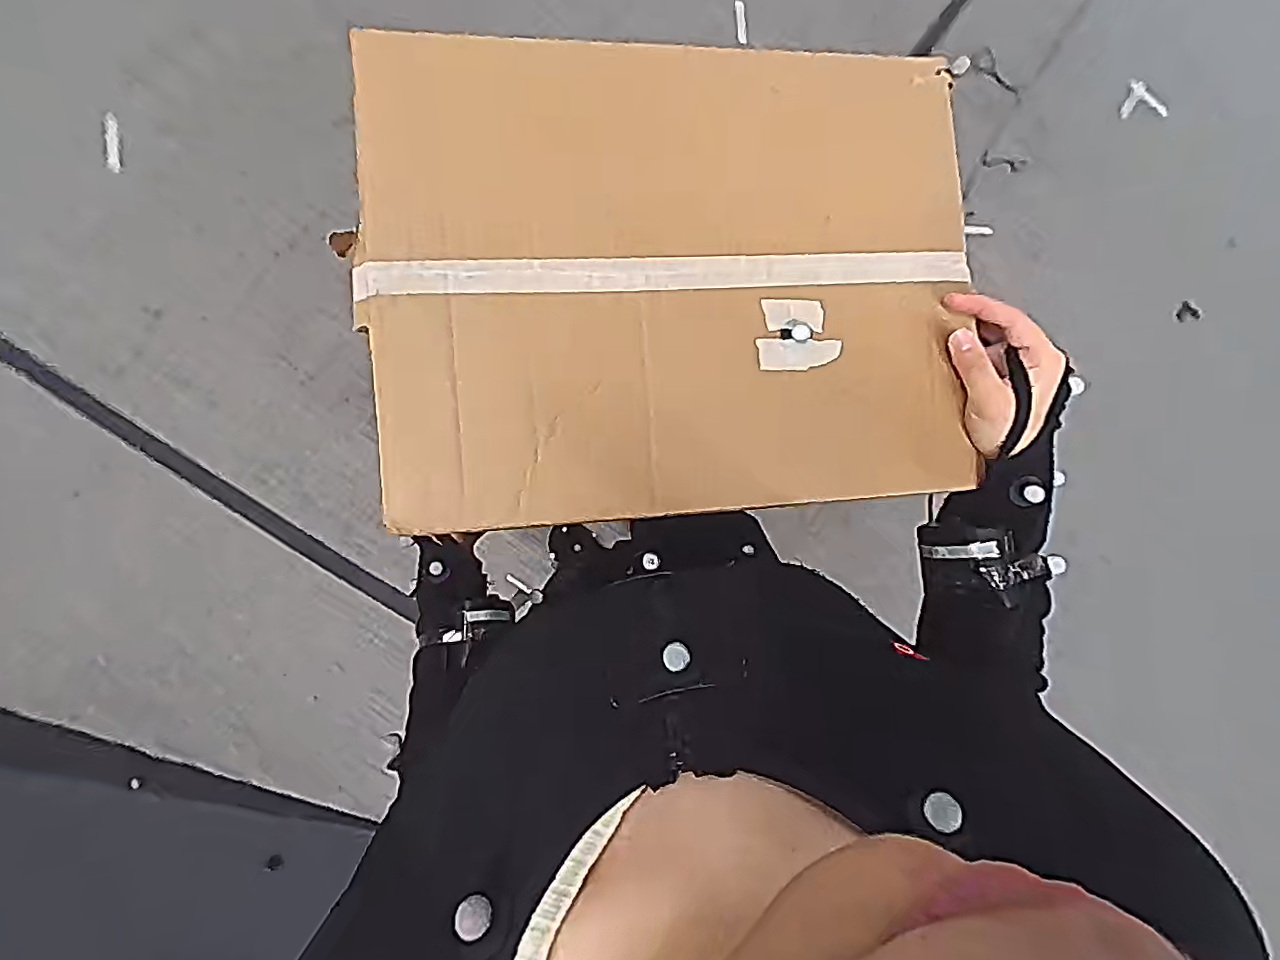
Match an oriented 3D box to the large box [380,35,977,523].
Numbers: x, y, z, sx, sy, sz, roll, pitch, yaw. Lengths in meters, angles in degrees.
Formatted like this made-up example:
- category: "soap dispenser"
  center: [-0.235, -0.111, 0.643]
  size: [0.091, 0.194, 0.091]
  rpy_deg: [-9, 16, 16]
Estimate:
- category: "large box"
  center: [0.016, -0.134, 0.512]
  size: [0.408, 0.320, 0.320]
  rpy_deg: [-3, 89, -10]
